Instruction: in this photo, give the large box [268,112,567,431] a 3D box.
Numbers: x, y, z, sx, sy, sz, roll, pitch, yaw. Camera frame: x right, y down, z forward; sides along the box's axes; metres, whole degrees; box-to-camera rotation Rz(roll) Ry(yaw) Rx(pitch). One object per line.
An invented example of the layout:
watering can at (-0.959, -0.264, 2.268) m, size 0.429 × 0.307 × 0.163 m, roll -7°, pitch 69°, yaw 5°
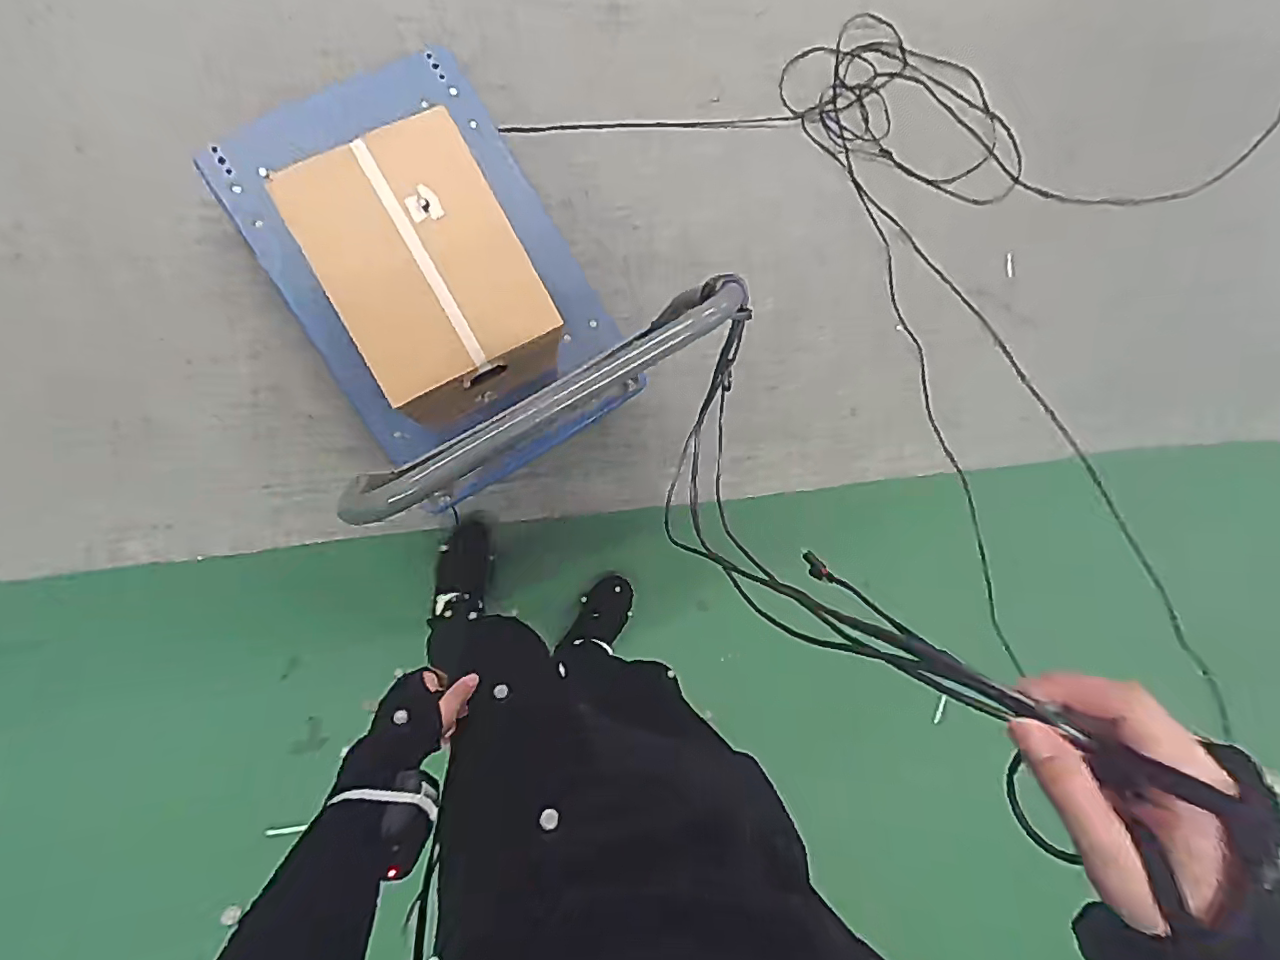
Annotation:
large box at (-0.370, -0.348, 1.010) m, size 0.320 × 0.320 × 0.408 m, roll -30°, pitch 94°, yaw -10°
